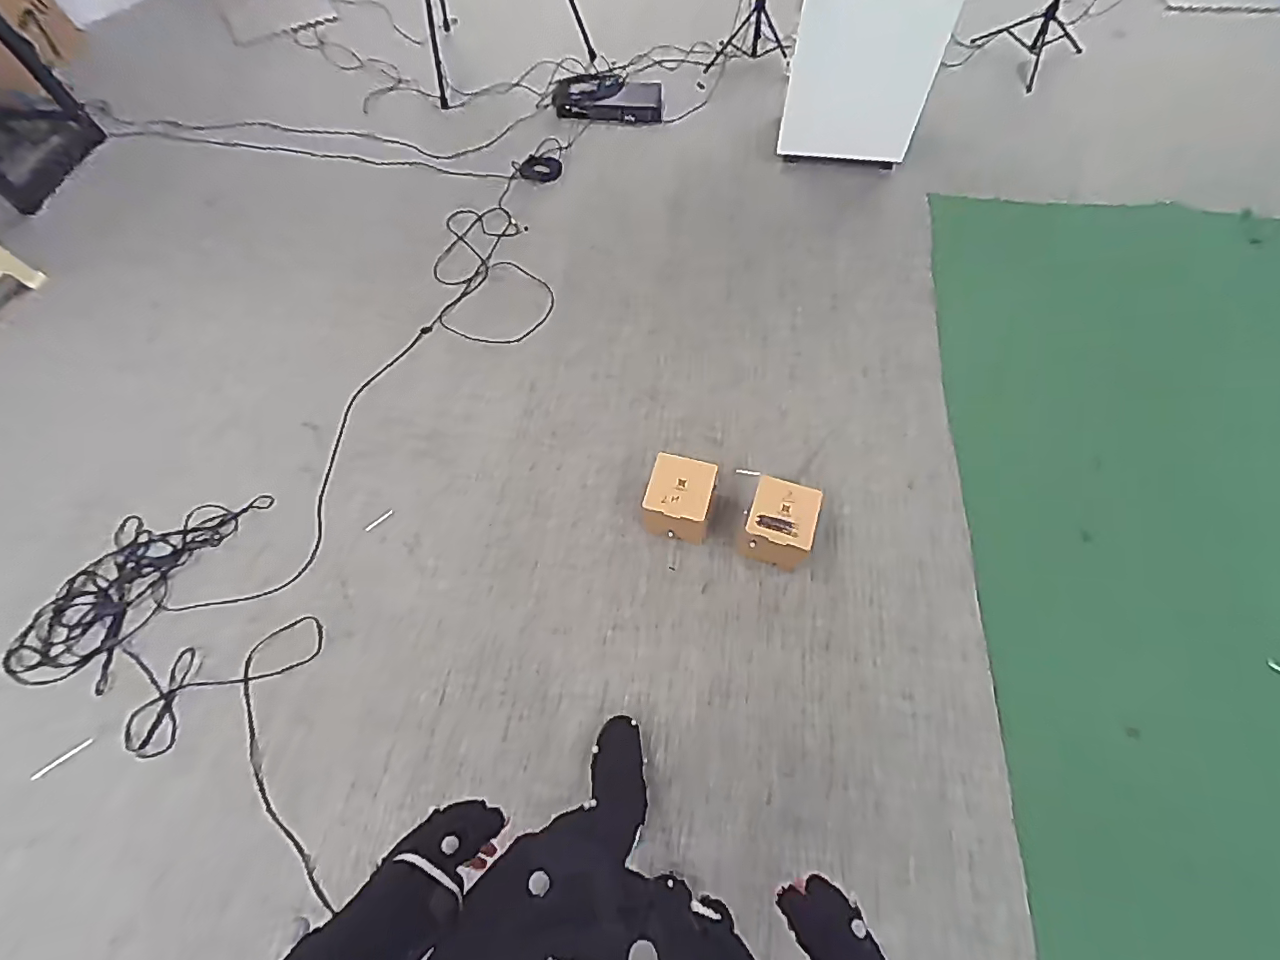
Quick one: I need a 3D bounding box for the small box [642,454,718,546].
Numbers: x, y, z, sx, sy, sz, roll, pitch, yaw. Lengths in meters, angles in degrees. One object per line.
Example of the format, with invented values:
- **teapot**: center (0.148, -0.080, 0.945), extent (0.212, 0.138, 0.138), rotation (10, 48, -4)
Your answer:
- **small box**: center (0.109, 0.058, 1.485), extent (0.168, 0.176, 0.179), rotation (14, 64, 10)
